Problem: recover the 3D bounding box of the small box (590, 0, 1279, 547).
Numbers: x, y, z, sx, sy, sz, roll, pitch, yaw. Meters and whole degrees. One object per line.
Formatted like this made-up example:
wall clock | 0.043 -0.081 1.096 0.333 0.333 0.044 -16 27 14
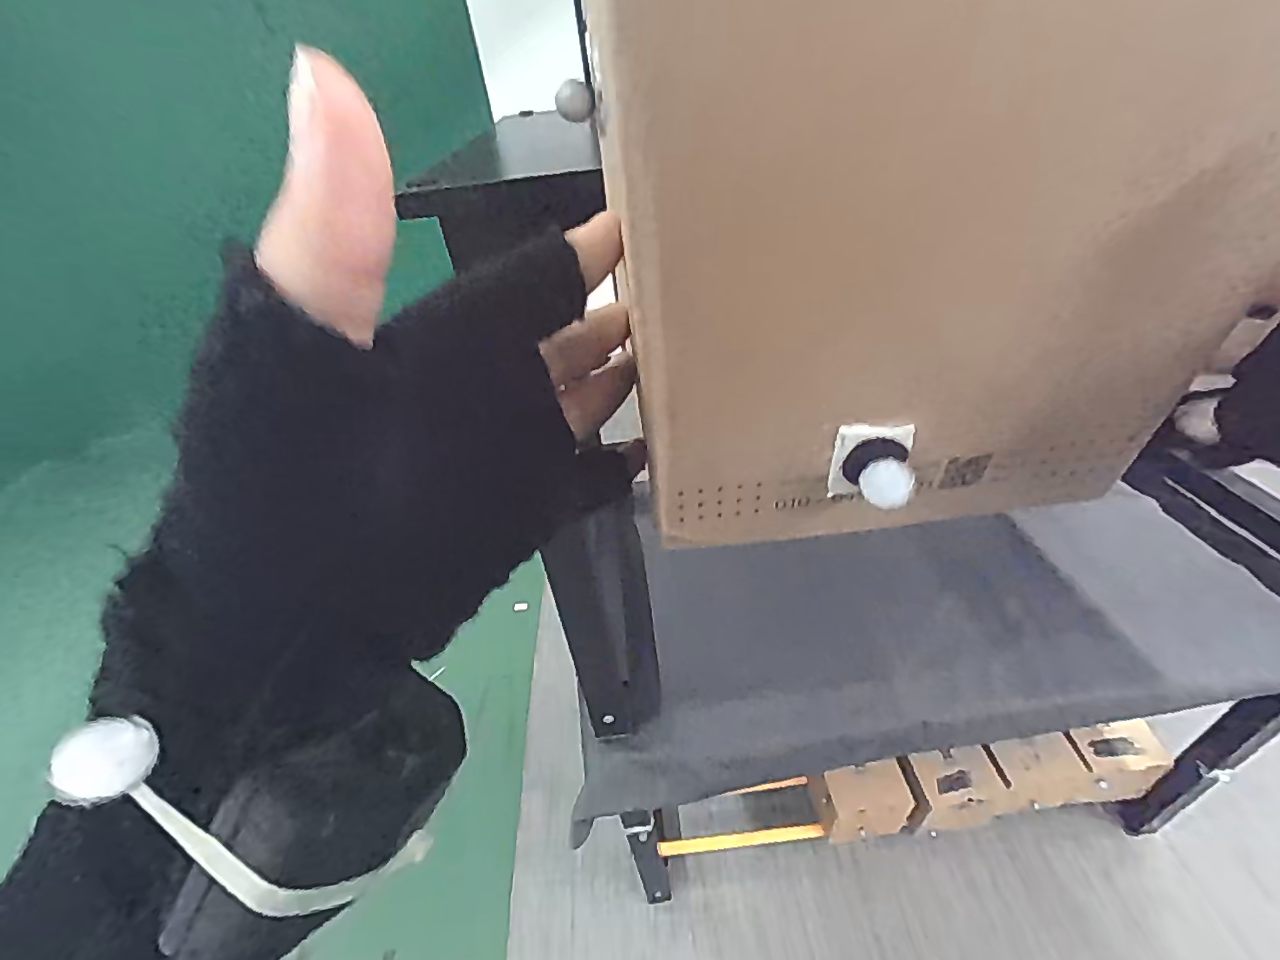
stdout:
small box | 0.072 -0.099 0.212 0.168 0.176 0.179 -8 45 0
